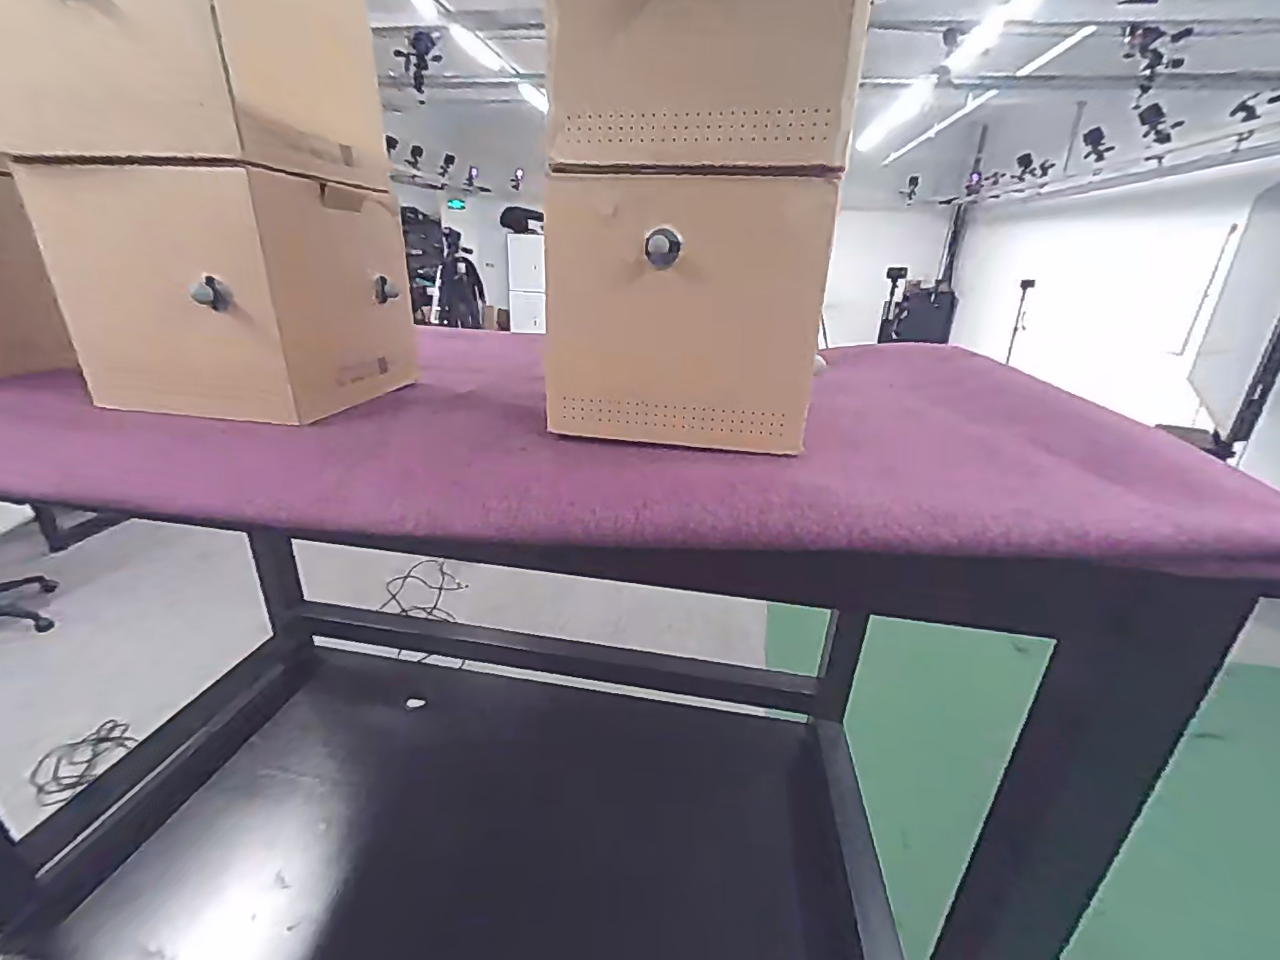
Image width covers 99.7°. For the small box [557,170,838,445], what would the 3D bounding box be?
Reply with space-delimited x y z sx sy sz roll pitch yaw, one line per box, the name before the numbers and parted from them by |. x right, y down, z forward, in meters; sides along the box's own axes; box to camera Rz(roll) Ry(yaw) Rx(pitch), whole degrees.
small box | 0.042 -0.130 0.426 0.179 0.176 0.168 7 20 9

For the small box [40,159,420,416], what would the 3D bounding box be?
small box | -0.306 -0.155 0.450 0.179 0.176 0.168 5 21 7

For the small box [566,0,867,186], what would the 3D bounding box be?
small box | 0.053 -0.284 0.371 0.179 0.176 0.168 6 20 10
